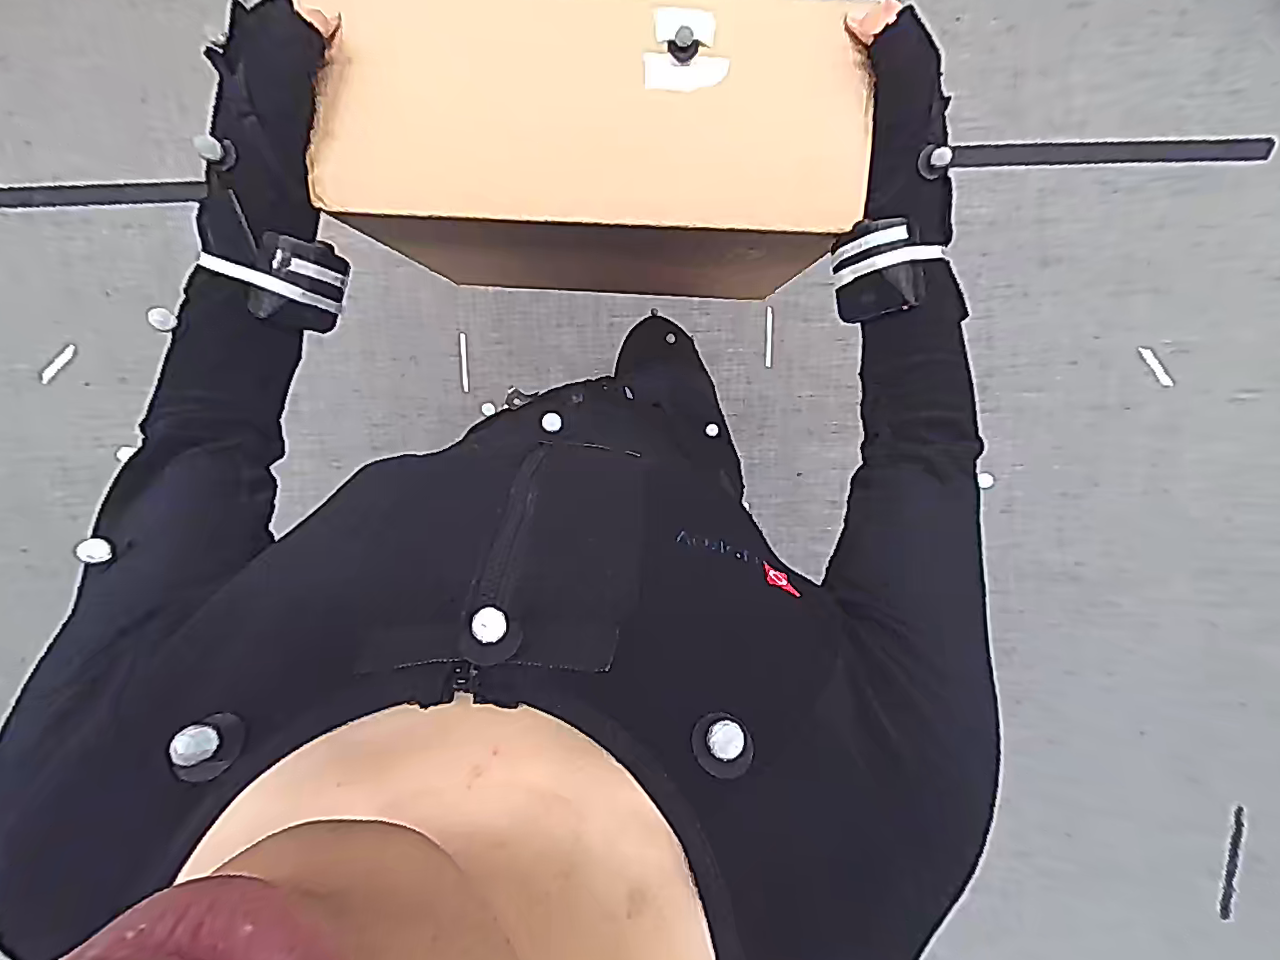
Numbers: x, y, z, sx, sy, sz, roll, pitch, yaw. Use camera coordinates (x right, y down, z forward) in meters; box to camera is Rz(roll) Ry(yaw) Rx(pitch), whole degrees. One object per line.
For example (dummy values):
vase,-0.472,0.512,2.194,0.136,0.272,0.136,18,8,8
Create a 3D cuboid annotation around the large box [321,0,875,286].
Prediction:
large box,-0.030,-0.383,0.530,0.408,0.320,0.320,2,100,-1
